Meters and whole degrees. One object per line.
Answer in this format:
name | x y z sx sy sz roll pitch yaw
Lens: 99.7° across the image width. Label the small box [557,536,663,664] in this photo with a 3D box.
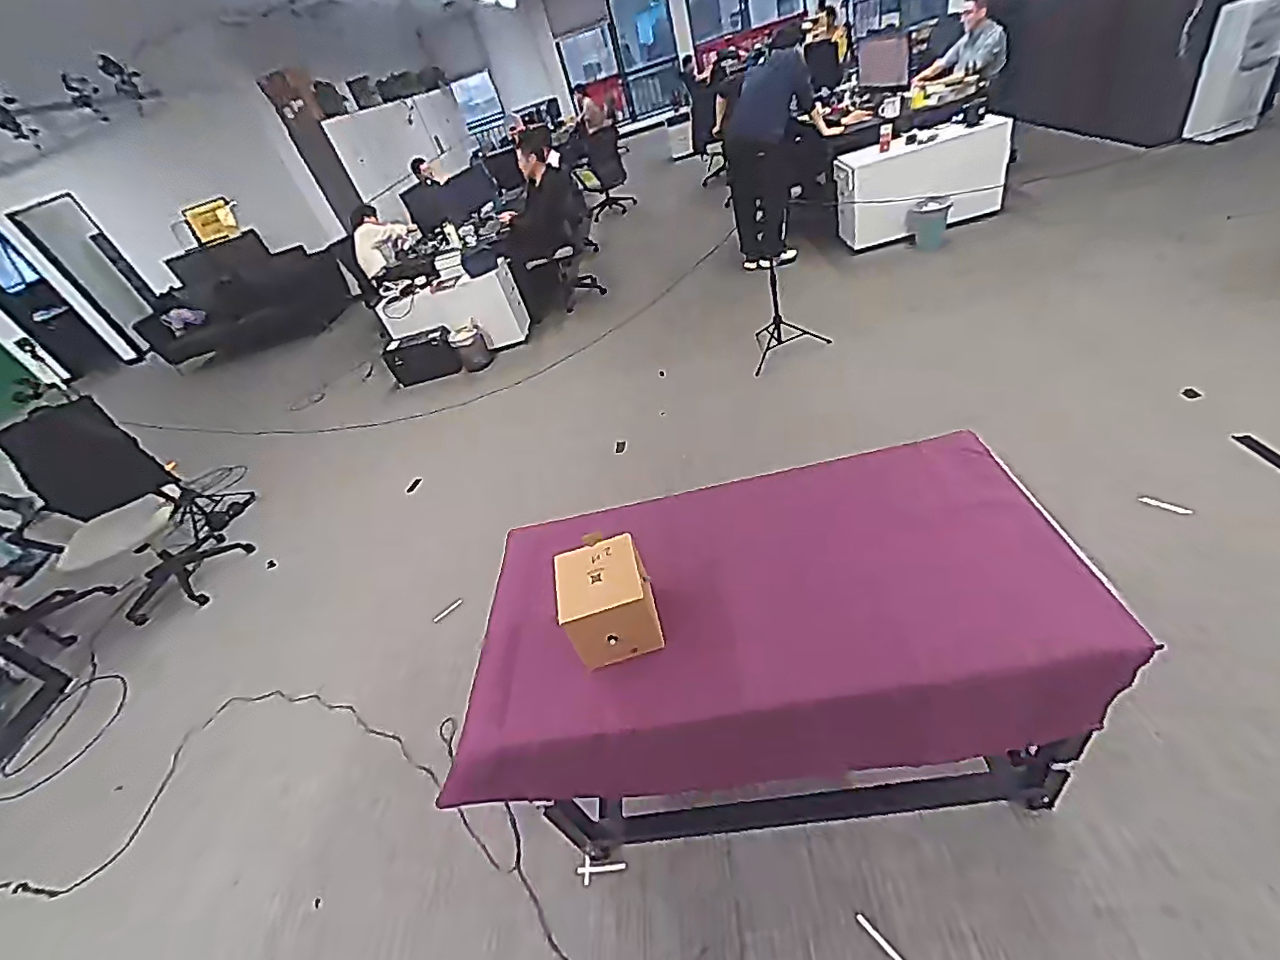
small box | -0.061 0.250 1.098 0.168 0.176 0.179 -17 38 2
